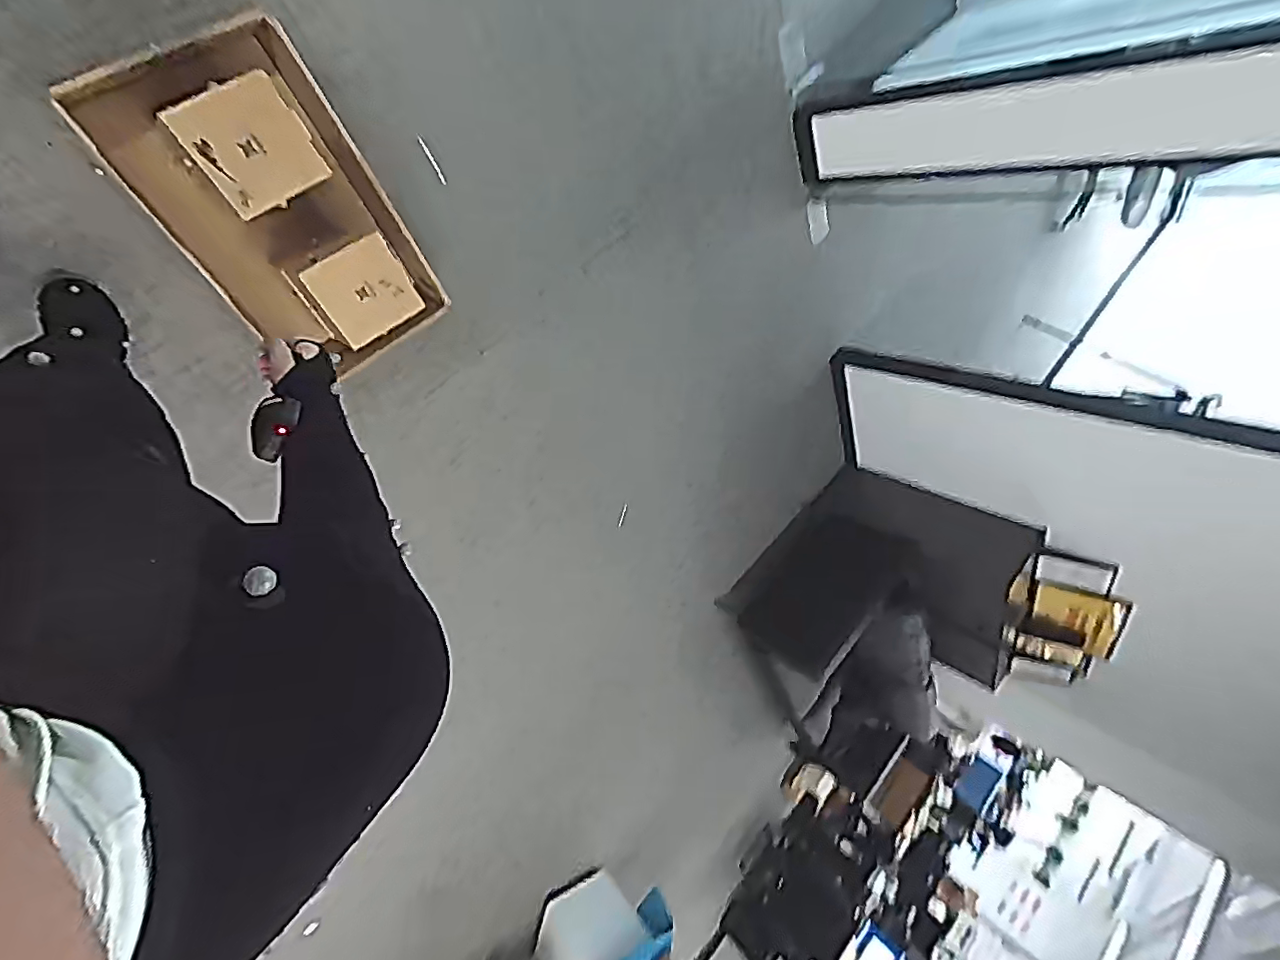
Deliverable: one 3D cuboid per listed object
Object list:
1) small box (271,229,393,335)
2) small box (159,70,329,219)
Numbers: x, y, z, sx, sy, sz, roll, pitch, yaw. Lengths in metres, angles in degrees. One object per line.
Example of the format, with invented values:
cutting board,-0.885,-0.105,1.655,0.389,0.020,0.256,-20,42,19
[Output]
small box,-0.711,-0.457,1.241,0.179,0.176,0.168,-41,132,-20
small box,-0.696,-0.582,0.948,0.179,0.176,0.168,-43,133,-19
